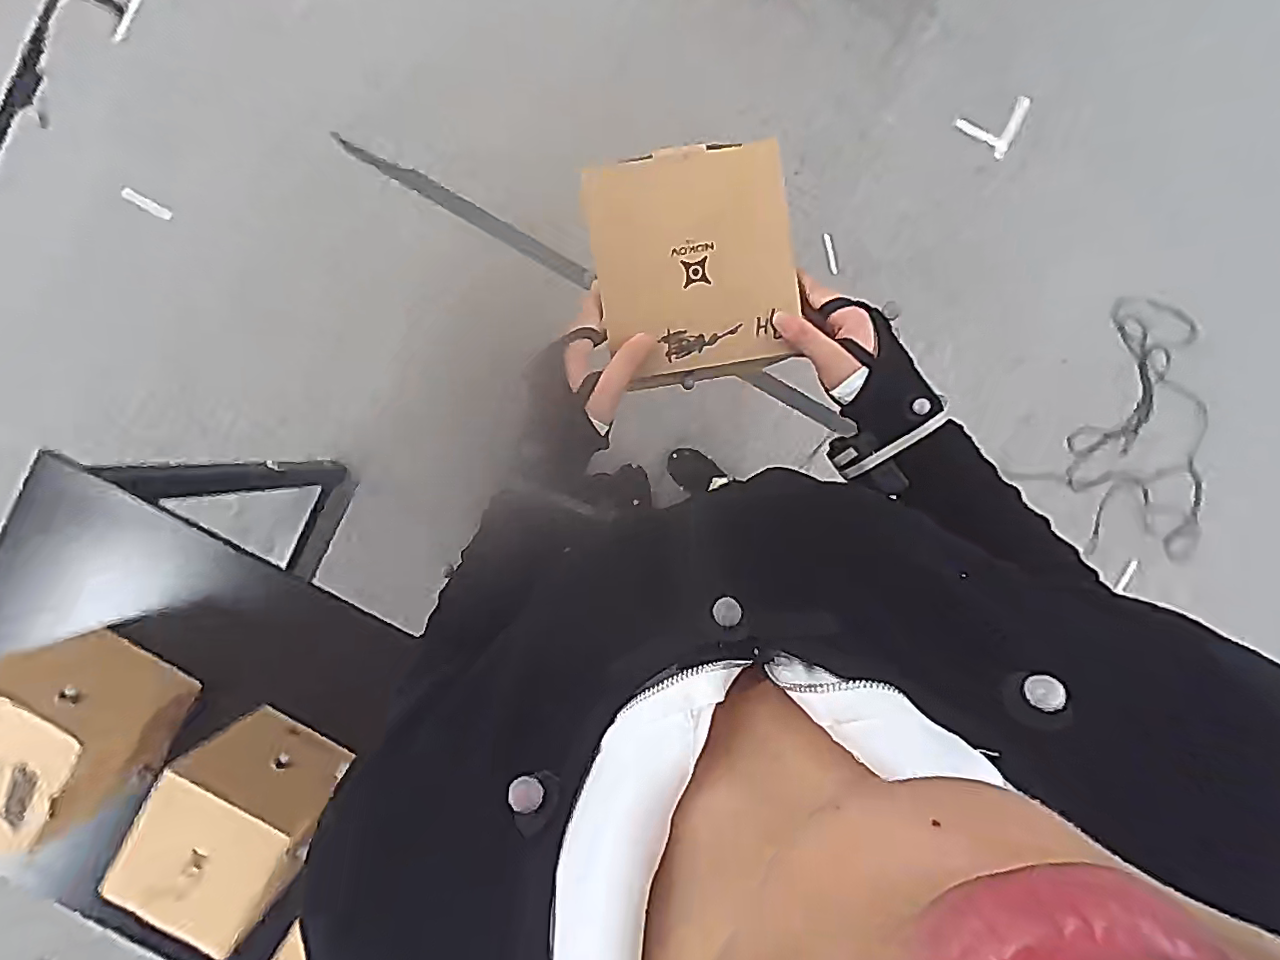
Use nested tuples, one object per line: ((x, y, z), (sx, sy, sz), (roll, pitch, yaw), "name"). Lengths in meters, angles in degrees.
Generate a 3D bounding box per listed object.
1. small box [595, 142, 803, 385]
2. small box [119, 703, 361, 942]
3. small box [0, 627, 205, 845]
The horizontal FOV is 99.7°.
((0.049, -0.195, 0.536), (0.168, 0.176, 0.179), (-8, 97, 0), "small box")
((-0.511, 0.437, 0.723), (0.168, 0.176, 0.179), (30, 93, -1), "small box")
((-0.746, 0.322, 0.720), (0.179, 0.176, 0.168), (30, 93, 0), "small box")
